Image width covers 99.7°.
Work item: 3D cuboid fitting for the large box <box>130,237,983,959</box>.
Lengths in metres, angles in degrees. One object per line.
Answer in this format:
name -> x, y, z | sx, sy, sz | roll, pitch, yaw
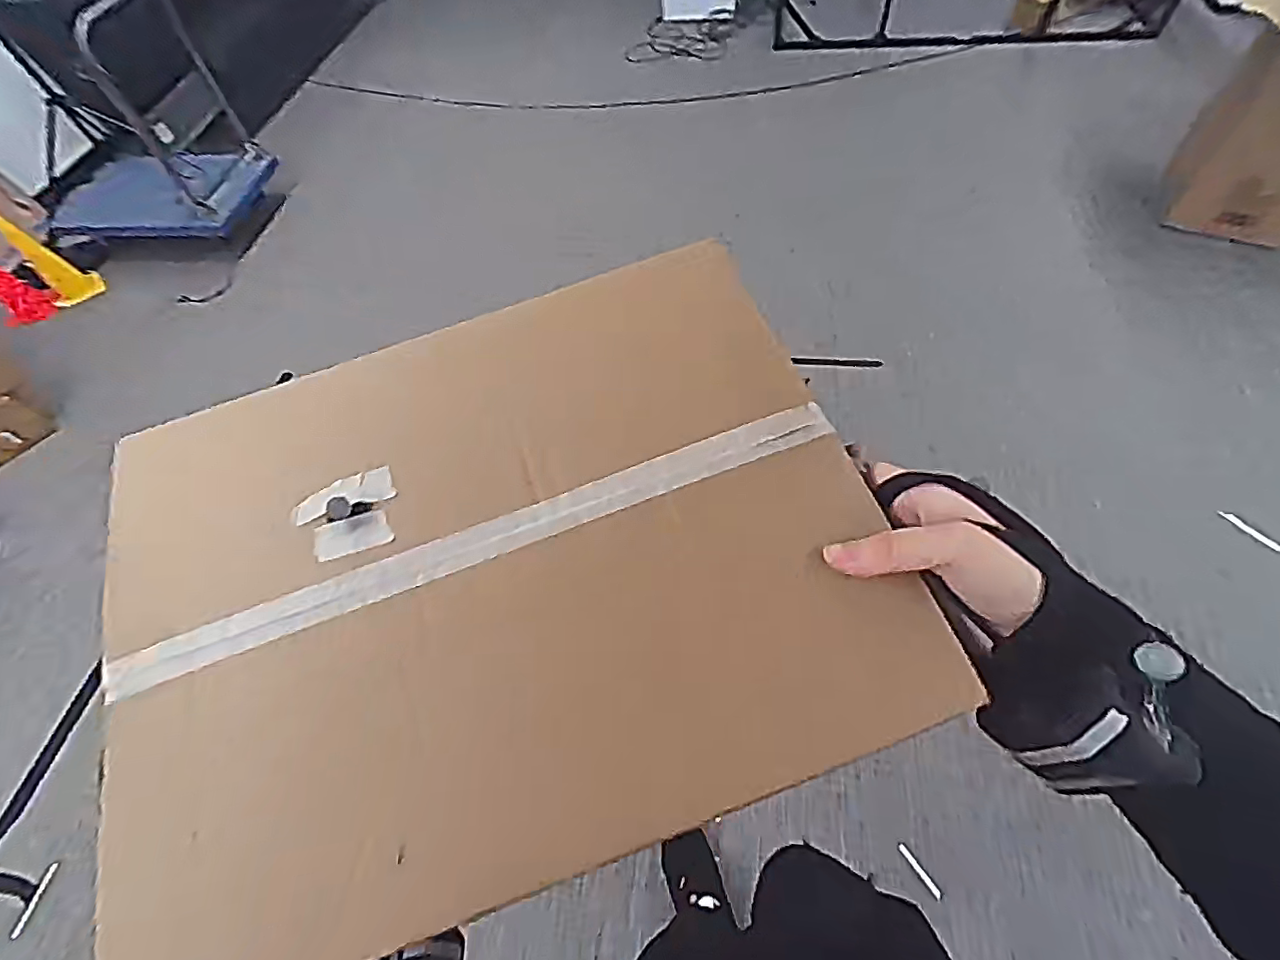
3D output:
large box -> -0.060, 0.091, 0.430 | 0.408, 0.320, 0.320 | -20, 65, -3
